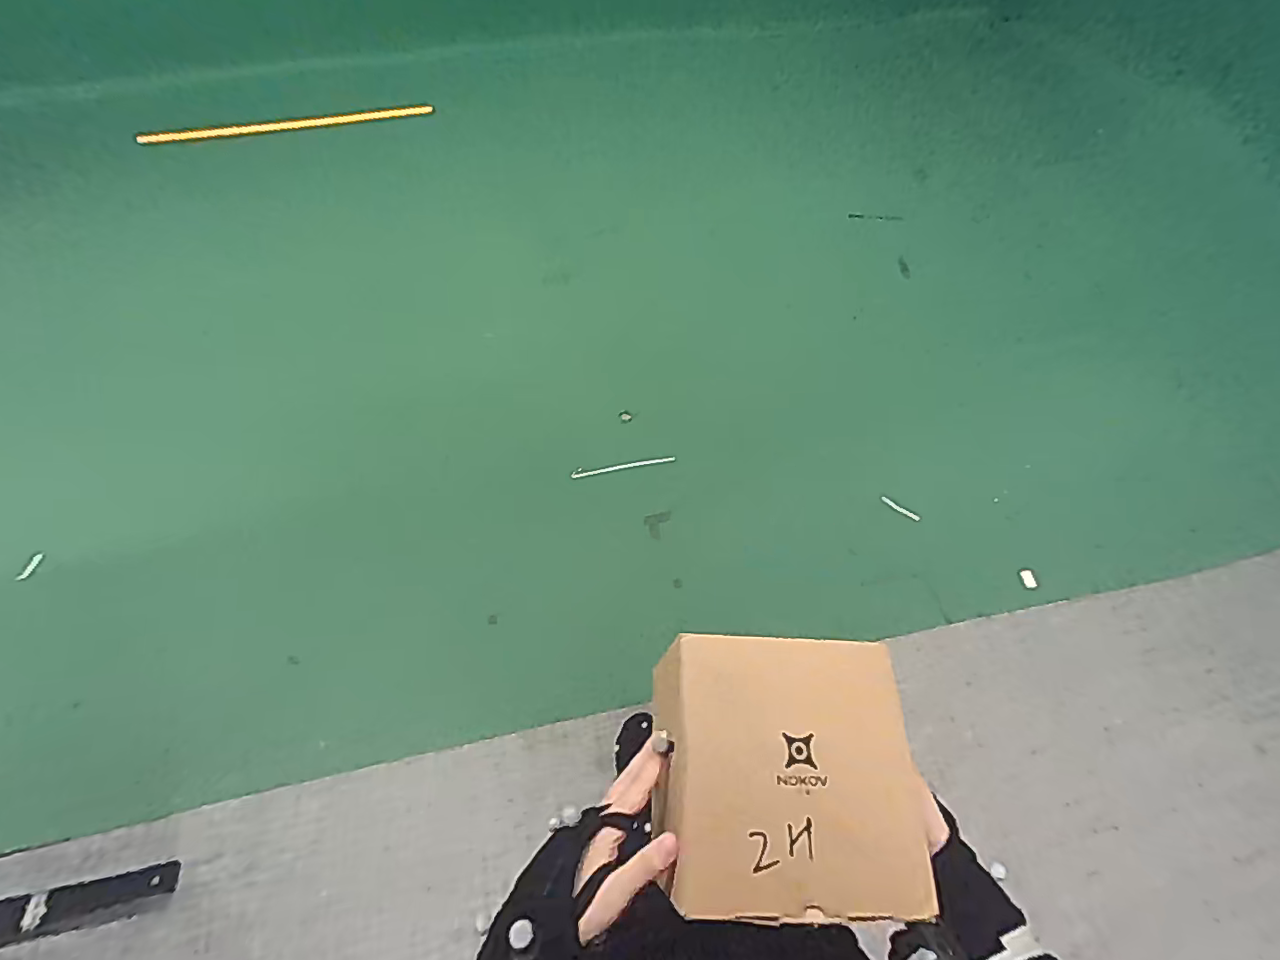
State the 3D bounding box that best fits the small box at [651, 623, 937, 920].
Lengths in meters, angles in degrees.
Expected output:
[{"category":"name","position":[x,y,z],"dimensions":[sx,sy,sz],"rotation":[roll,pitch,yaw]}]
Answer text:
[{"category":"small box","position":[0.102,0.232,0.444],"dimensions":[0.168,0.176,0.179],"rotation":[5,60,-4]}]
